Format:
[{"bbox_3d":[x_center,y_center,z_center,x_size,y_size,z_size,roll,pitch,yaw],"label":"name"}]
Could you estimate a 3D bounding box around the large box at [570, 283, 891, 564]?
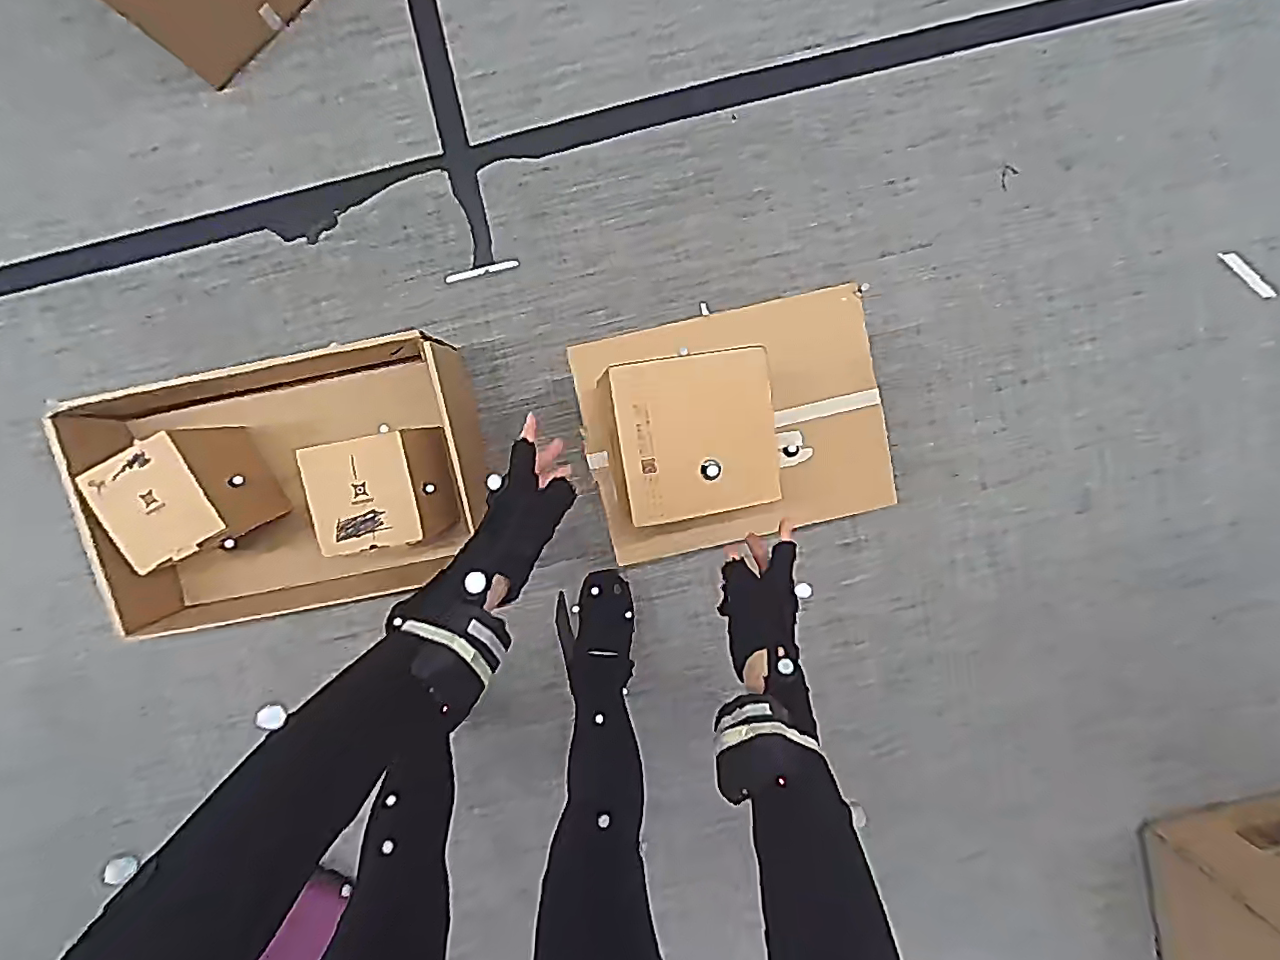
[{"bbox_3d":[0.125,-0.088,0.898,0.408,0.320,0.320,-13,97,0],"label":"large box"}]
